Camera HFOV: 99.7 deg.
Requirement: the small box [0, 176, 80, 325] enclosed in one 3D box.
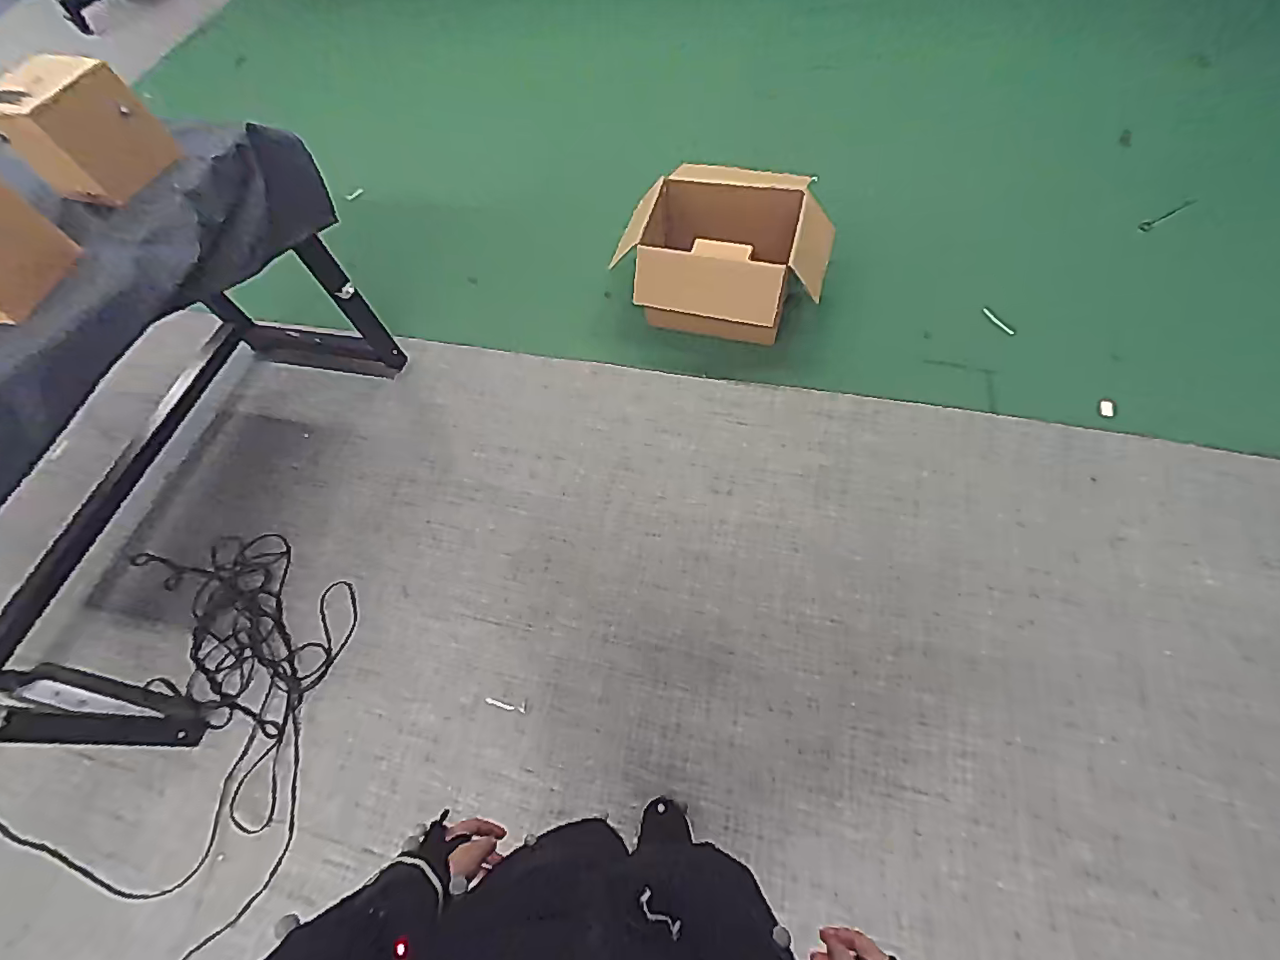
[{"bbox_3d":[-1.086,-0.380,0.873,0.168,0.176,0.179,7,64,10],"label":"small box"}]
